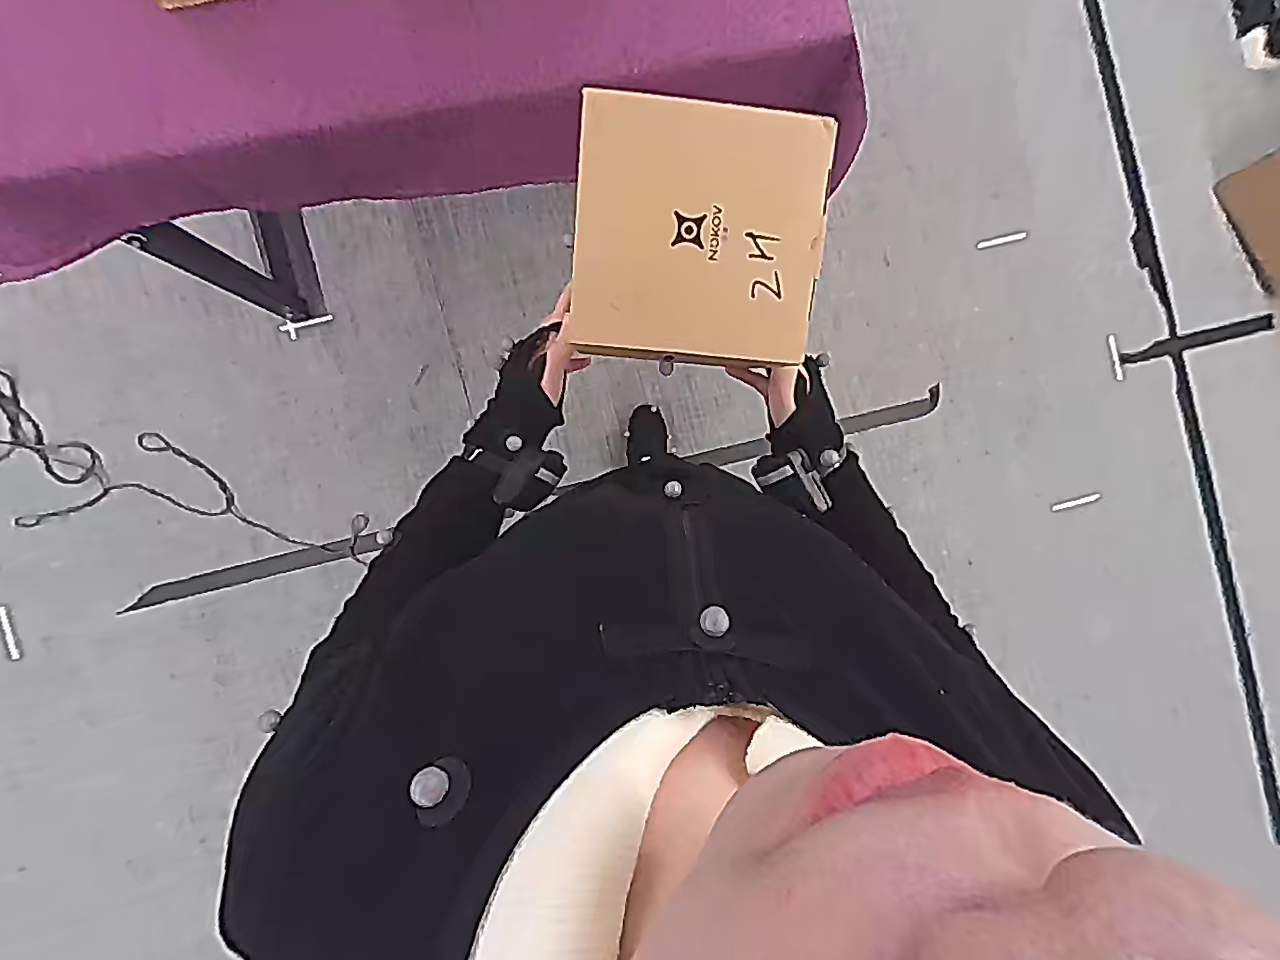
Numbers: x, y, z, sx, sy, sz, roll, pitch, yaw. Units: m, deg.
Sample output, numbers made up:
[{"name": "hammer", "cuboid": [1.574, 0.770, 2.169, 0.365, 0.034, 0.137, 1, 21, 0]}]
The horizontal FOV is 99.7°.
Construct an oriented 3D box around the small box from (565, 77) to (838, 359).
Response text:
[{"name": "small box", "cuboid": [0.036, -0.193, 0.452, 0.179, 0.176, 0.168, 4, 101, -5]}]
